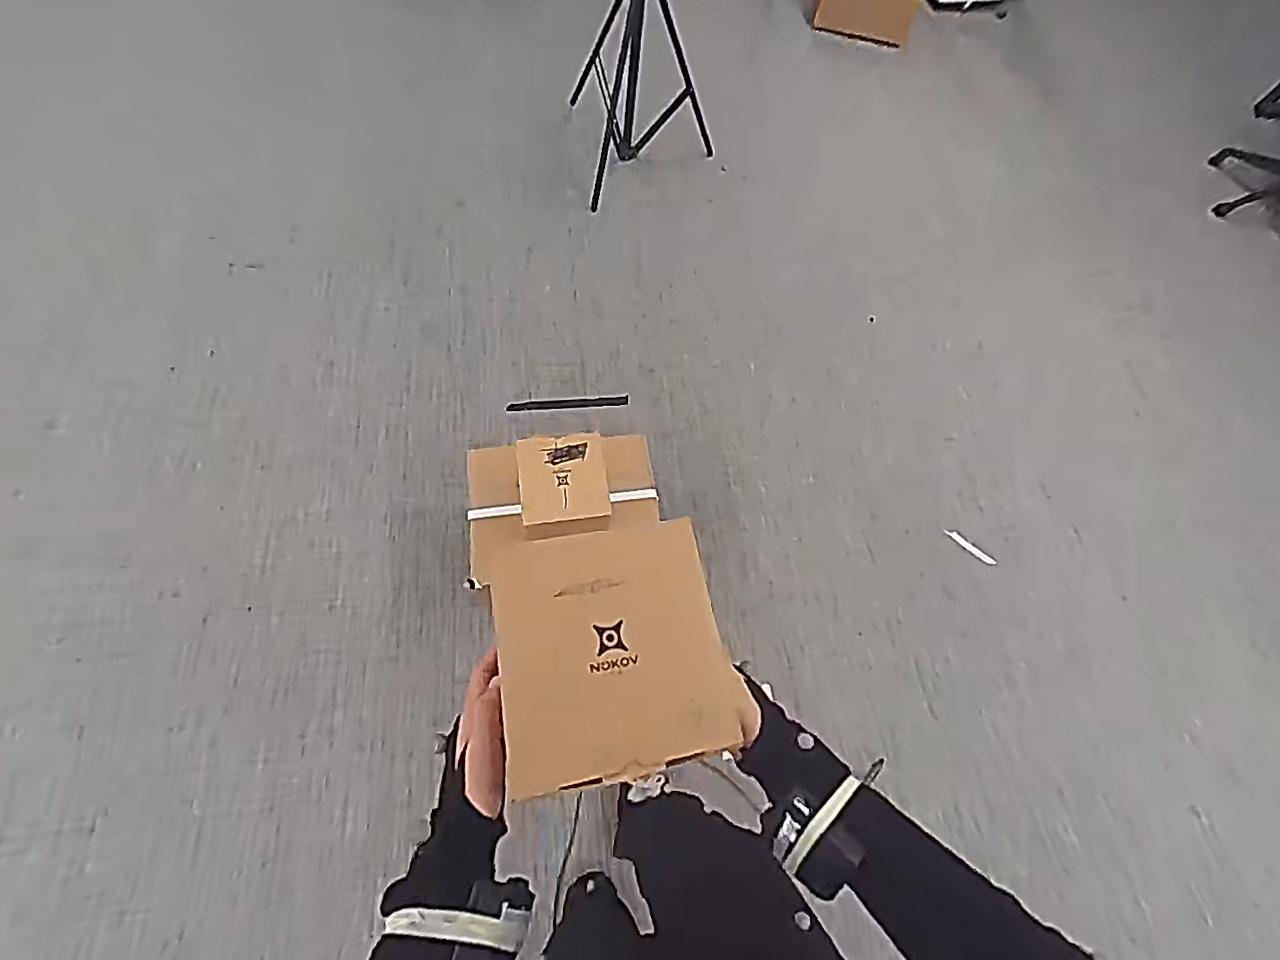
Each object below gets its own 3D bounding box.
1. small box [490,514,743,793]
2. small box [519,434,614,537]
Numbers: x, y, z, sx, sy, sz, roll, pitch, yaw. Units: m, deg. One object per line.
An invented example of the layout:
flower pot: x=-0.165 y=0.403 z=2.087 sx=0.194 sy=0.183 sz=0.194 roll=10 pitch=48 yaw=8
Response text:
small box: x=-0.032 y=0.148 z=0.472 sx=0.168 sy=0.176 sz=0.179 roll=-8 pitch=67 yaw=-14
small box: x=-0.150 y=0.028 z=1.086 sx=0.168 sy=0.176 sz=0.179 roll=-6 pitch=68 yaw=-9
